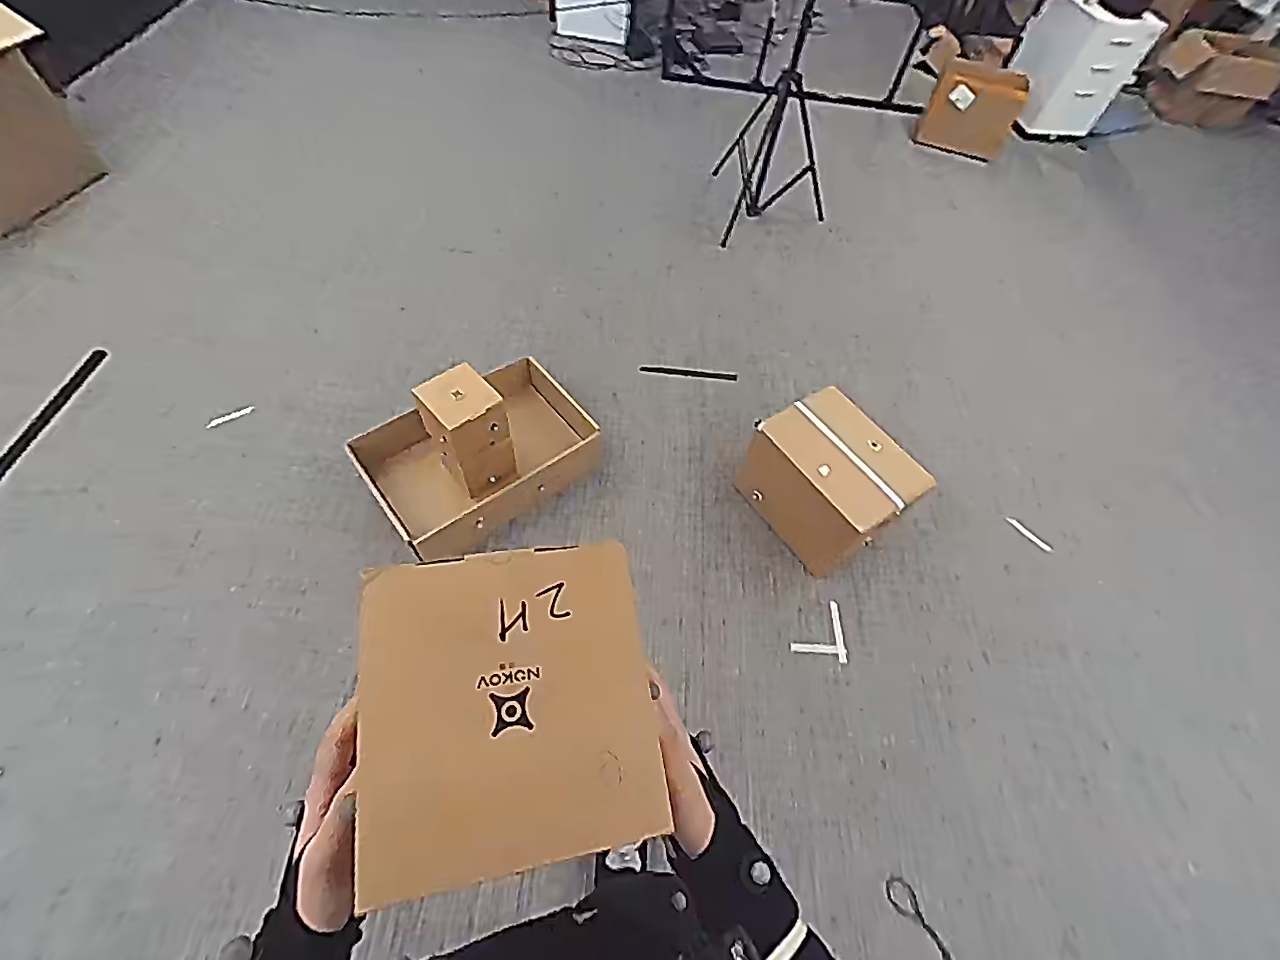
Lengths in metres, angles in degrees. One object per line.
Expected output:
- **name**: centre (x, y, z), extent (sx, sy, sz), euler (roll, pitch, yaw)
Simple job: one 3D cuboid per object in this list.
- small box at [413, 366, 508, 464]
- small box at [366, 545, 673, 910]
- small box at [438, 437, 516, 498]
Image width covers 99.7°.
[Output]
- **small box**: centre (-0.475, -0.166, 1.457), extent (0.168, 0.176, 0.179), euler (-38, 67, -27)
- **small box**: centre (-0.089, 0.162, 0.391), extent (0.168, 0.176, 0.179), euler (-5, 67, -16)
- **small box**: centre (-0.484, -0.080, 1.595), extent (0.168, 0.176, 0.179), euler (-34, 67, -24)
